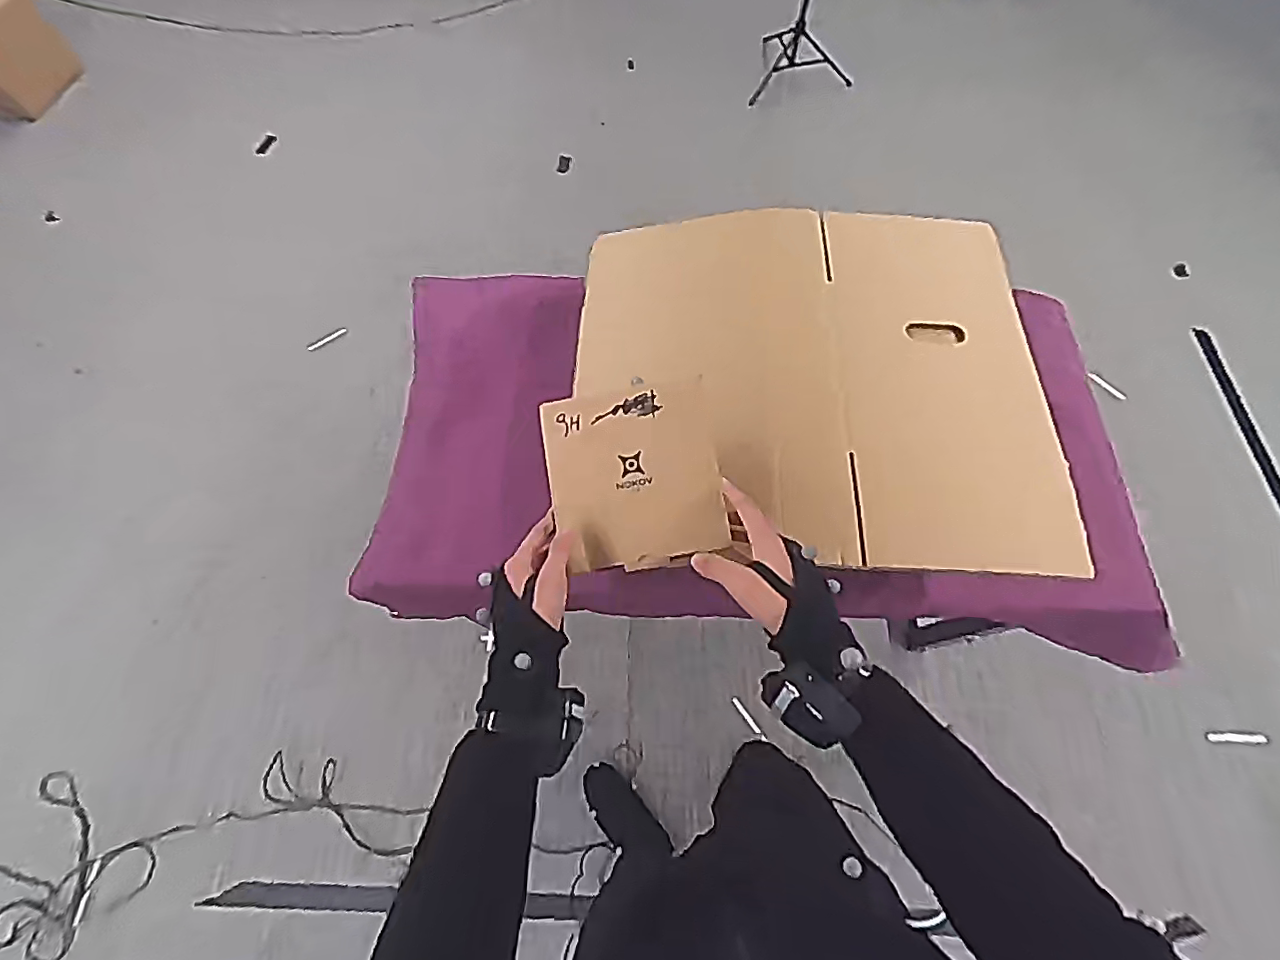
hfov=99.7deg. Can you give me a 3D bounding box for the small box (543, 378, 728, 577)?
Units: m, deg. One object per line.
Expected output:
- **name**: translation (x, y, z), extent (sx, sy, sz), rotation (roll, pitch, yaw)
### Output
- **small box**: translation (0.005, 0.006, 0.606), extent (0.168, 0.176, 0.179), rotation (-10, 82, 7)
